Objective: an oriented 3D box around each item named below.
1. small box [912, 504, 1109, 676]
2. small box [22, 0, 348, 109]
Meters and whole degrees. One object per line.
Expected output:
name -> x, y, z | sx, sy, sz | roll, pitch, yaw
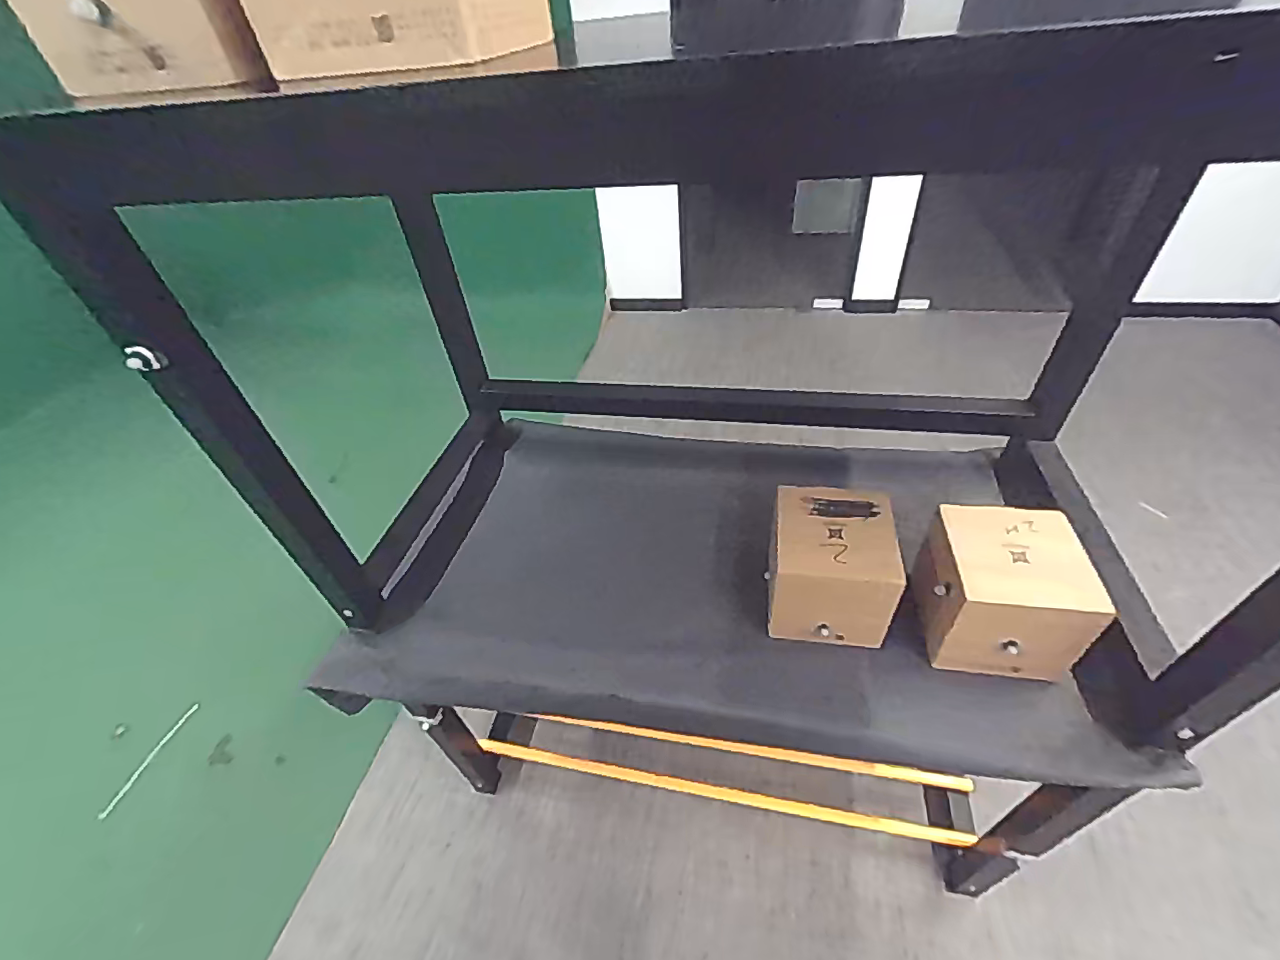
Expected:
small box -> 0.509, 0.158, 0.777 | 0.168, 0.176, 0.179 | 3, 42, 11
small box -> -0.376, -0.417, 0.441 | 0.168, 0.176, 0.179 | 4, 44, 11
